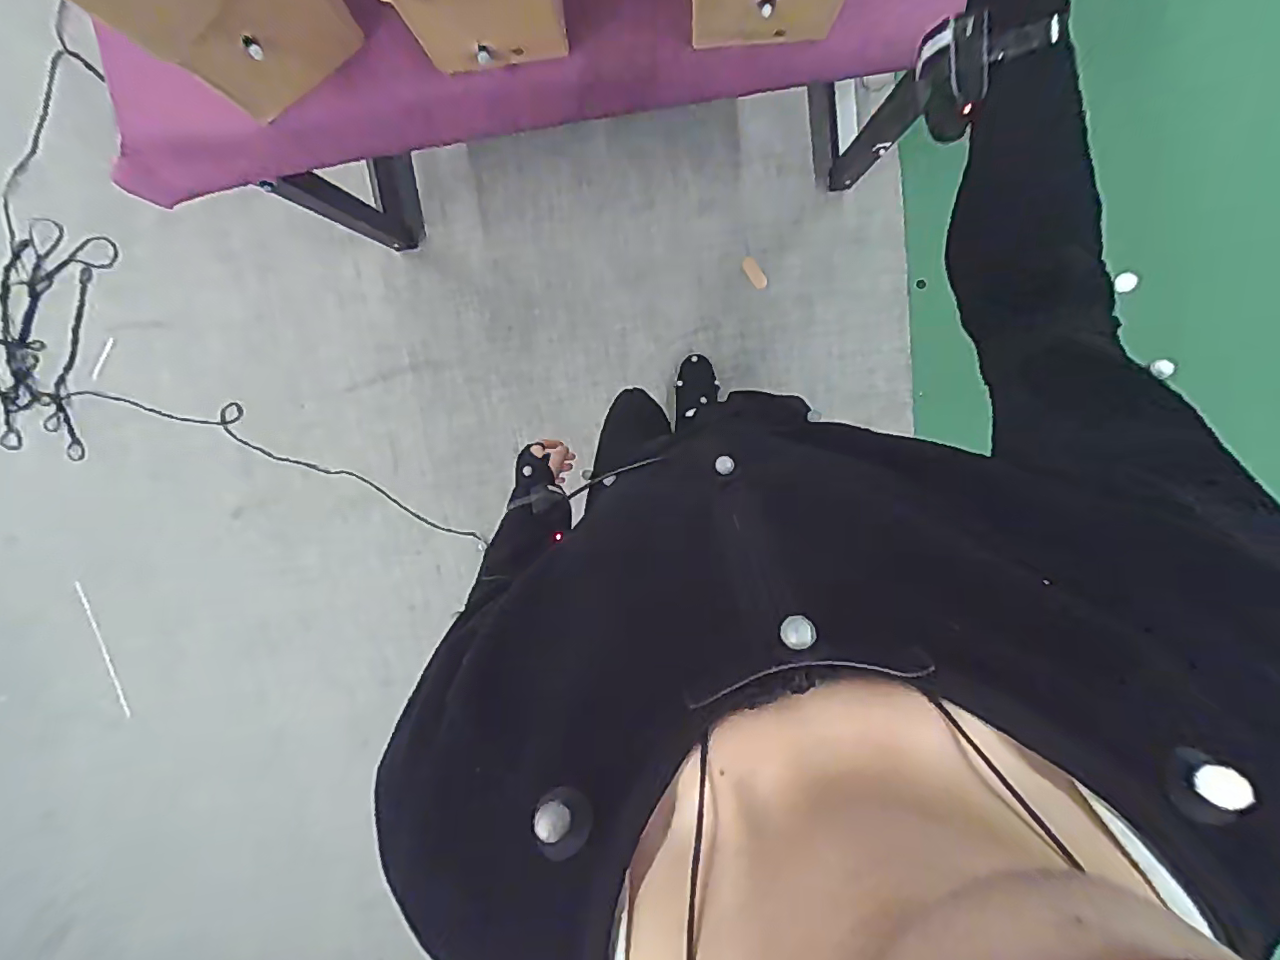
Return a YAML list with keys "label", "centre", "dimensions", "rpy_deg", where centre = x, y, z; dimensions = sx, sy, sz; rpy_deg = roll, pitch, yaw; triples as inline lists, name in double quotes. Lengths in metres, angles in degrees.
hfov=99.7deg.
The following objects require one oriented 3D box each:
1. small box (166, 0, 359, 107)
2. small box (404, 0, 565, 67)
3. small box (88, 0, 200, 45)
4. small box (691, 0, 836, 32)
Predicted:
- label: "small box"
  centre: [-0.463, -0.570, 0.601]
  dimensions: [0.179, 0.176, 0.168]
  rpy_deg: [-31, 98, 8]
- label: "small box"
  centre: [-0.183, -0.599, 0.585]
  dimensions: [0.168, 0.176, 0.179]
  rpy_deg: [-5, 100, 4]
- label: "small box"
  centre: [-0.469, -0.525, 0.442]
  dimensions: [0.179, 0.176, 0.168]
  rpy_deg: [-43, 96, 8]
- label: "small box"
  centre: [0.139, -0.612, 0.567]
  dimensions: [0.168, 0.176, 0.179]
  rpy_deg: [-2, 101, 2]
